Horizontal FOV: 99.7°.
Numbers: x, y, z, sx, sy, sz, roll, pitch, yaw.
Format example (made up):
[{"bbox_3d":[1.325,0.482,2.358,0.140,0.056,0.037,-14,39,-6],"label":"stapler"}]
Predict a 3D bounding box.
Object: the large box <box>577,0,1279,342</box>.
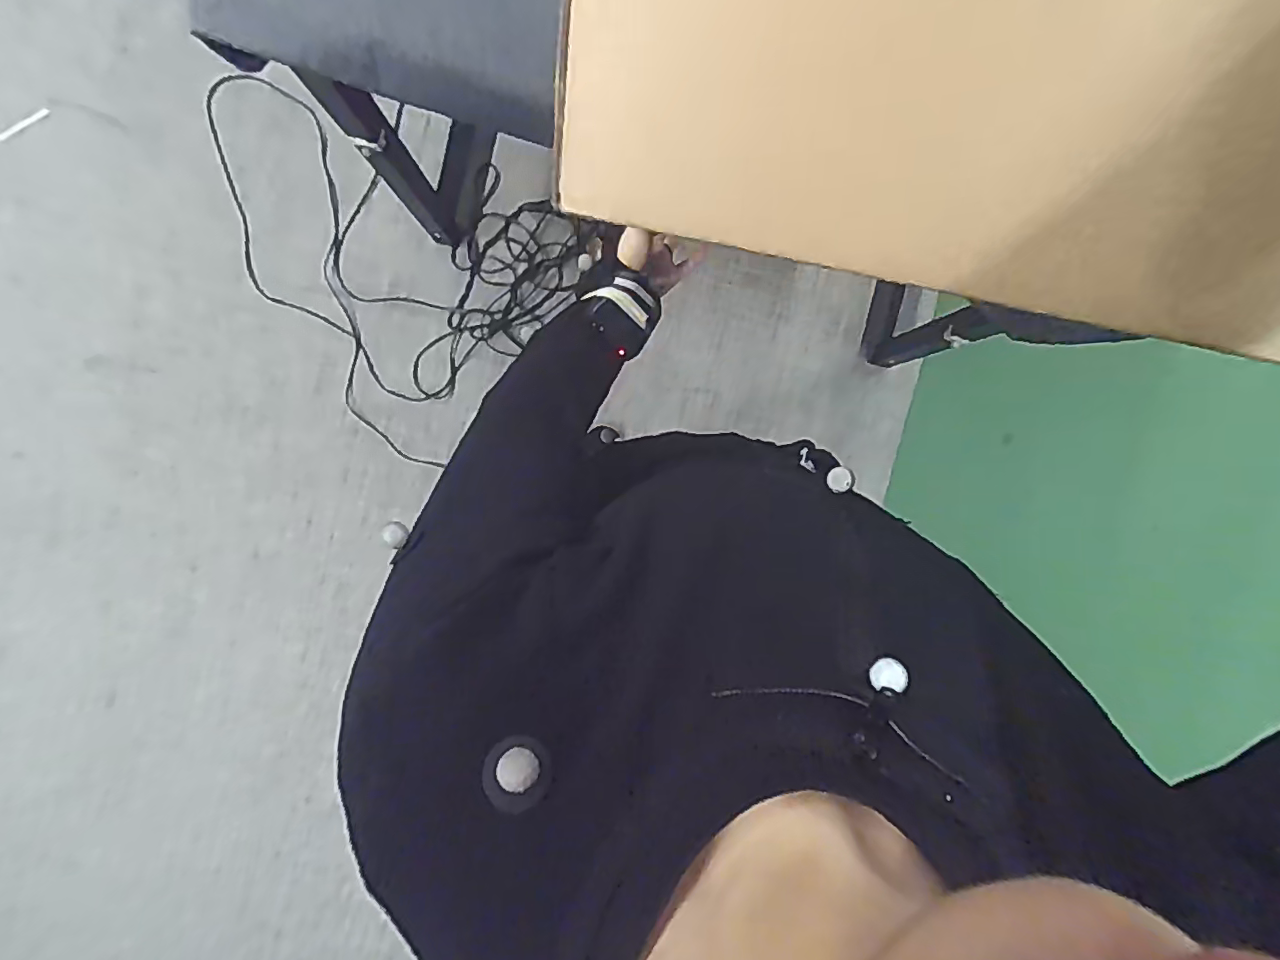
[{"bbox_3d":[0.202,-0.309,0.351,0.408,0.320,0.320,13,121,7],"label":"large box"}]
